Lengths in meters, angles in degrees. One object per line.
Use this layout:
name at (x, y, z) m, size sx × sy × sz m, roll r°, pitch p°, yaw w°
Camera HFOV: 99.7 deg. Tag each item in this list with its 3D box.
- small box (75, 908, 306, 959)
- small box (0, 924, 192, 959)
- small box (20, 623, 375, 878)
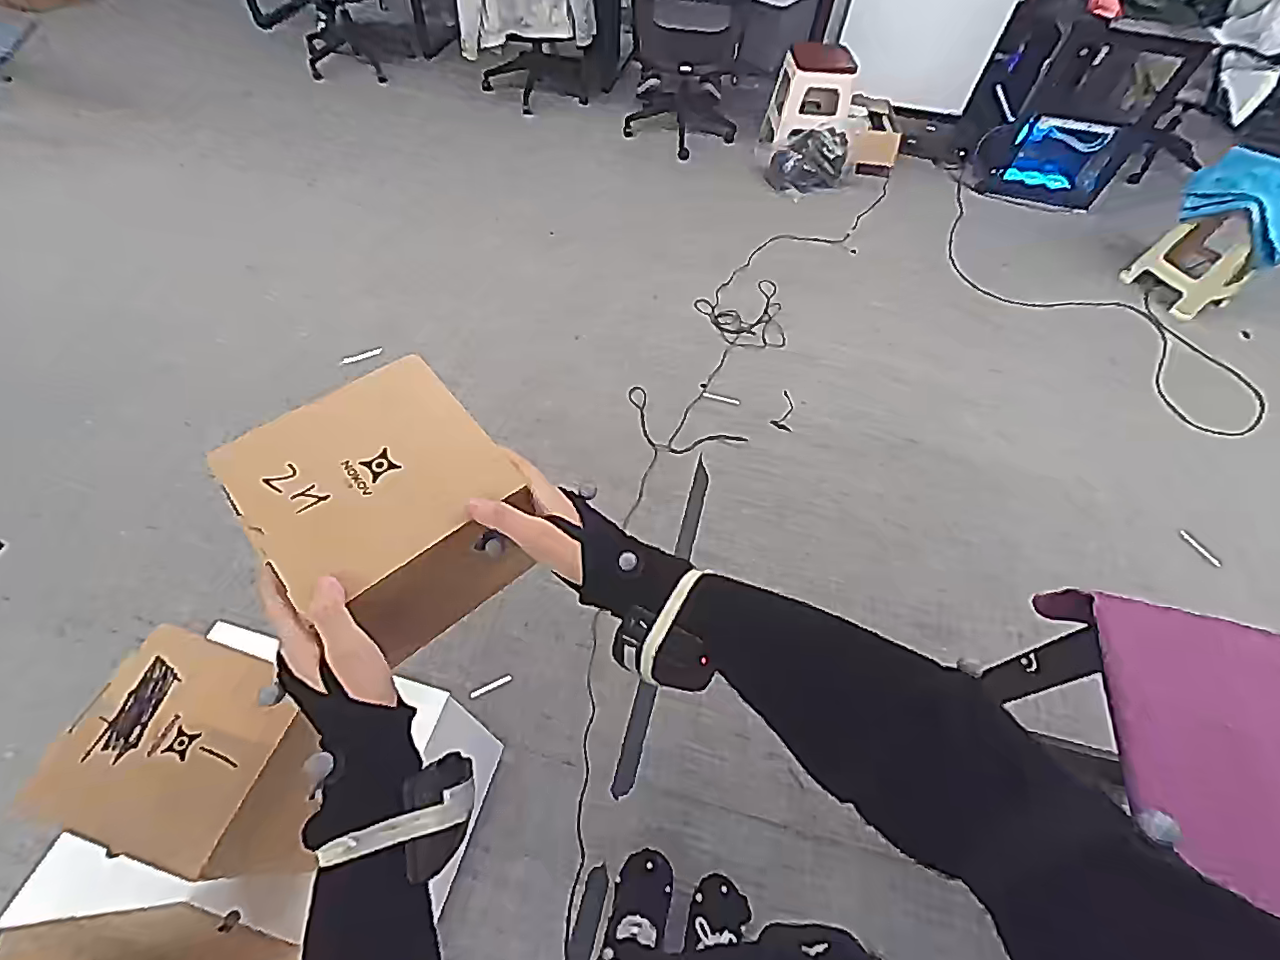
small box at (-0.492, 0.558, 0.544) m, size 0.179 × 0.176 × 0.168 m, roll 14°, pitch 56°, yaw 7°
small box at (-0.482, 0.467, 0.409) m, size 0.179 × 0.176 × 0.168 m, roll 13°, pitch 57°, yaw 6°
small box at (-0.409, 0.270, 0.541) m, size 0.179 × 0.176 × 0.168 m, roll 17°, pitch 57°, yaw 6°
